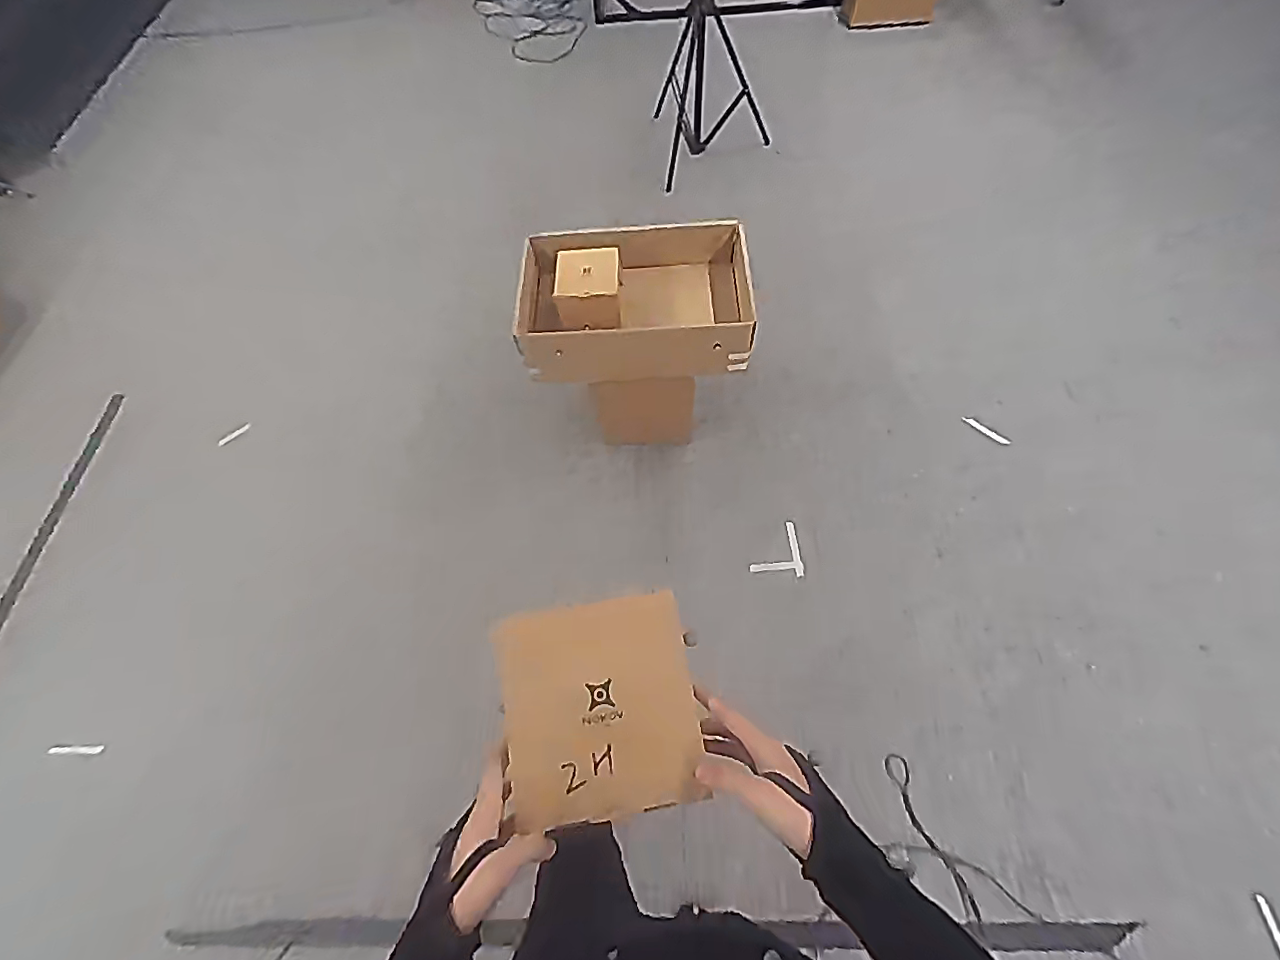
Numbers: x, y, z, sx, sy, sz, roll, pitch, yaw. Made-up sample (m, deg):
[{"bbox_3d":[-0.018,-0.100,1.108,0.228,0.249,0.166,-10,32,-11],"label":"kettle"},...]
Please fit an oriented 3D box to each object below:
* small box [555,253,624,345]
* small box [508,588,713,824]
[{"bbox_3d":[-0.132,-0.495,1.485,0.168,0.176,0.179,-3,62,2],"label":"small box"},{"bbox_3d":[-0.031,0.219,0.555,0.168,0.176,0.179,-9,73,-2],"label":"small box"}]
